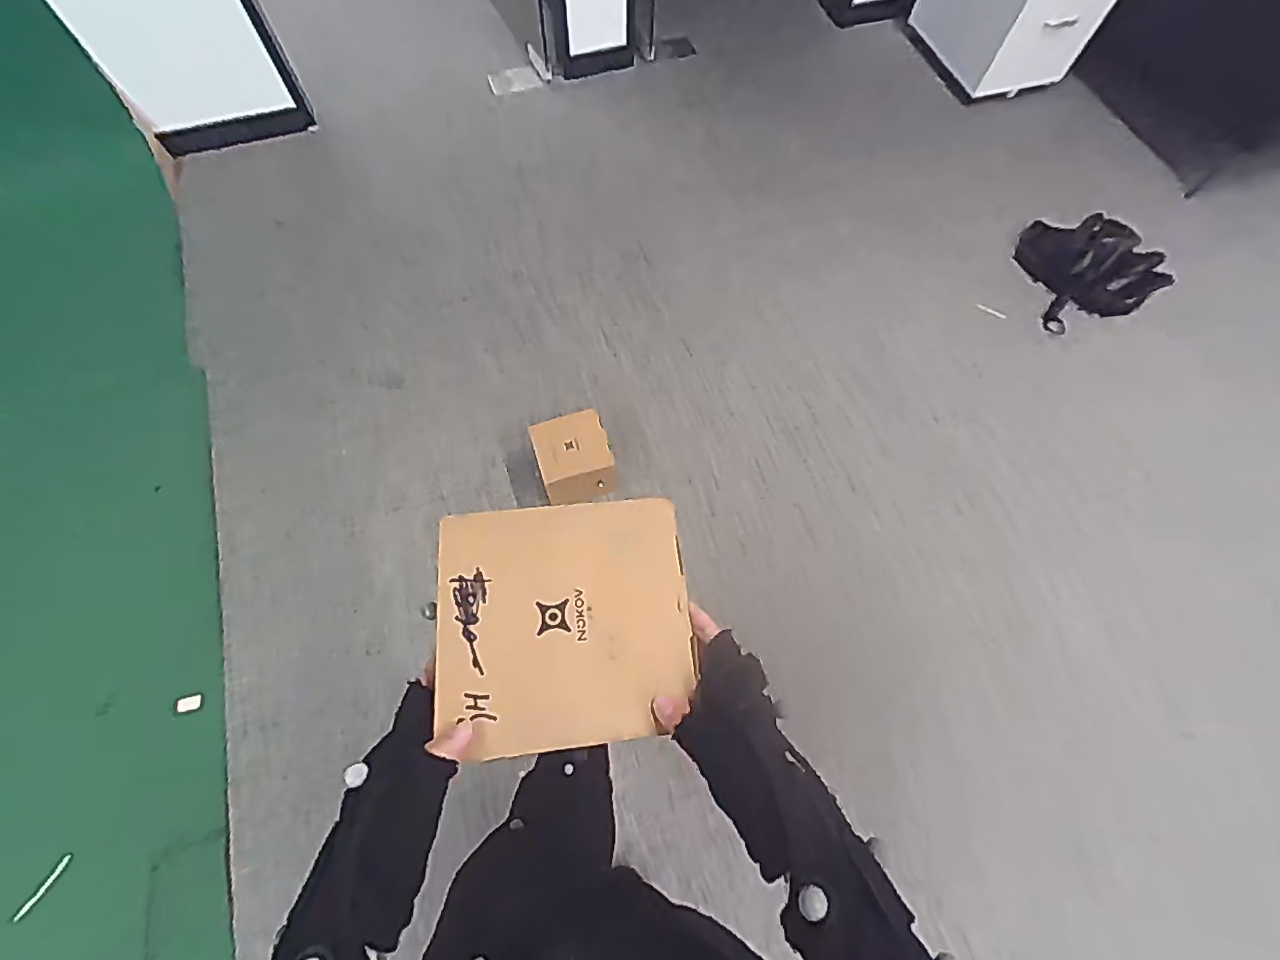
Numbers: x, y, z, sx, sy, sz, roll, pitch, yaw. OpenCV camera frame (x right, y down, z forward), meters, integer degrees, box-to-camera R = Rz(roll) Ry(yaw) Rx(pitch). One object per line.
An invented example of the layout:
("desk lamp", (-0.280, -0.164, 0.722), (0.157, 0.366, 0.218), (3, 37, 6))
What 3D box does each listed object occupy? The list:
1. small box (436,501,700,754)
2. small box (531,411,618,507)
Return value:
("small box", (-0.061, 0.126, 0.458), (0.179, 0.176, 0.168), (-4, 67, -8))
("small box", (-0.162, -0.045, 1.375), (0.179, 0.176, 0.168), (-18, 68, -7))
